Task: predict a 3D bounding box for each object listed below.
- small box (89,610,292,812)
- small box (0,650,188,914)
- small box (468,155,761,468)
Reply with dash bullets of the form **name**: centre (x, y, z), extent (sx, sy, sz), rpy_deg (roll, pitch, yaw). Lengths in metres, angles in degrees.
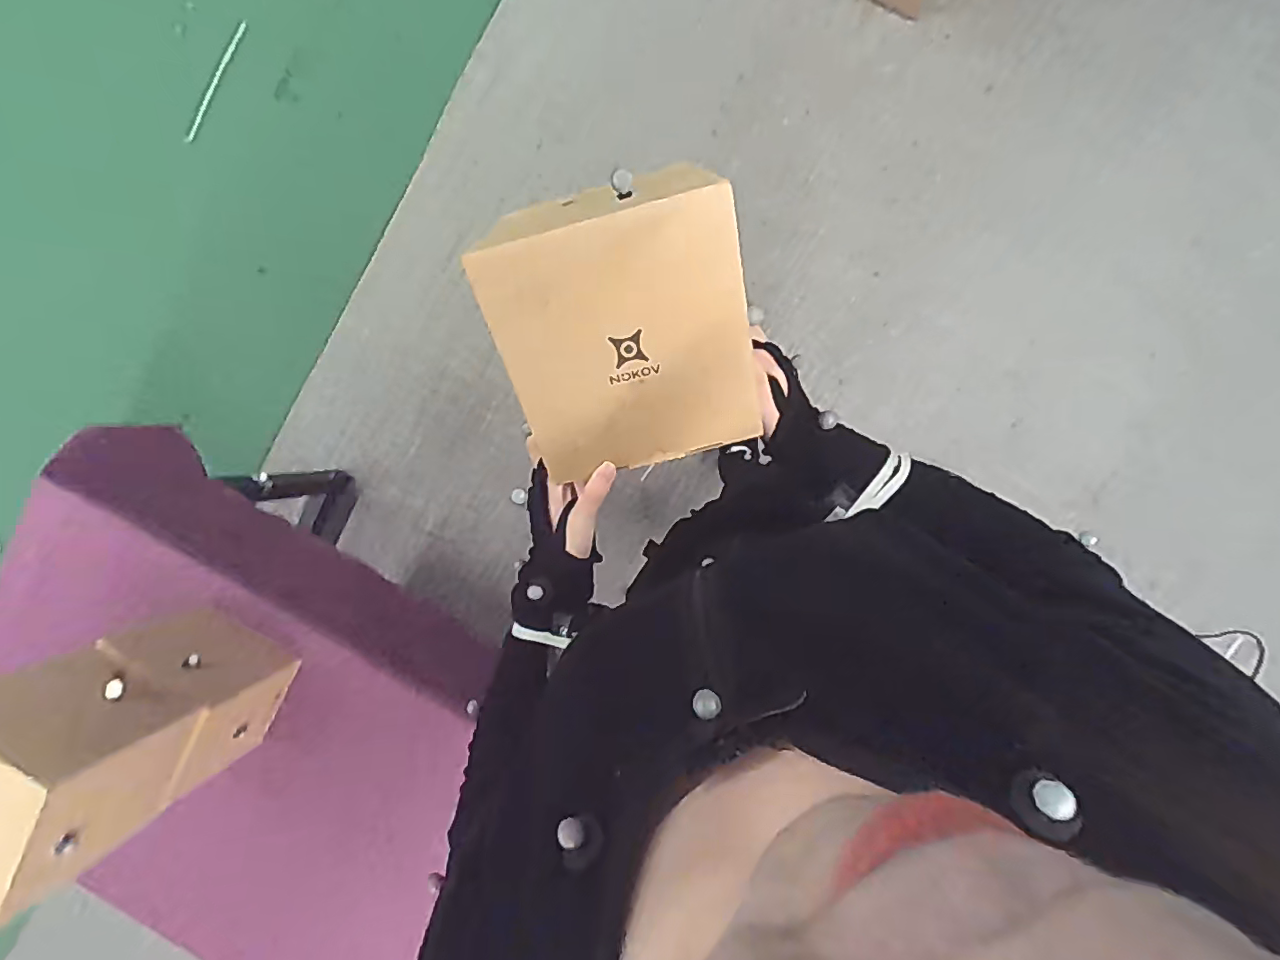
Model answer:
- **small box**: centre (-0.646, 0.309, 0.766), extent (0.179, 0.176, 0.168), rpy_deg (30, 95, 3)
- **small box**: centre (-0.666, 0.326, 0.603), extent (0.168, 0.176, 0.179), rpy_deg (27, 95, 3)
- **small box**: centre (-0.013, -0.140, 0.425), extent (0.168, 0.176, 0.179), rpy_deg (-13, 125, 4)
